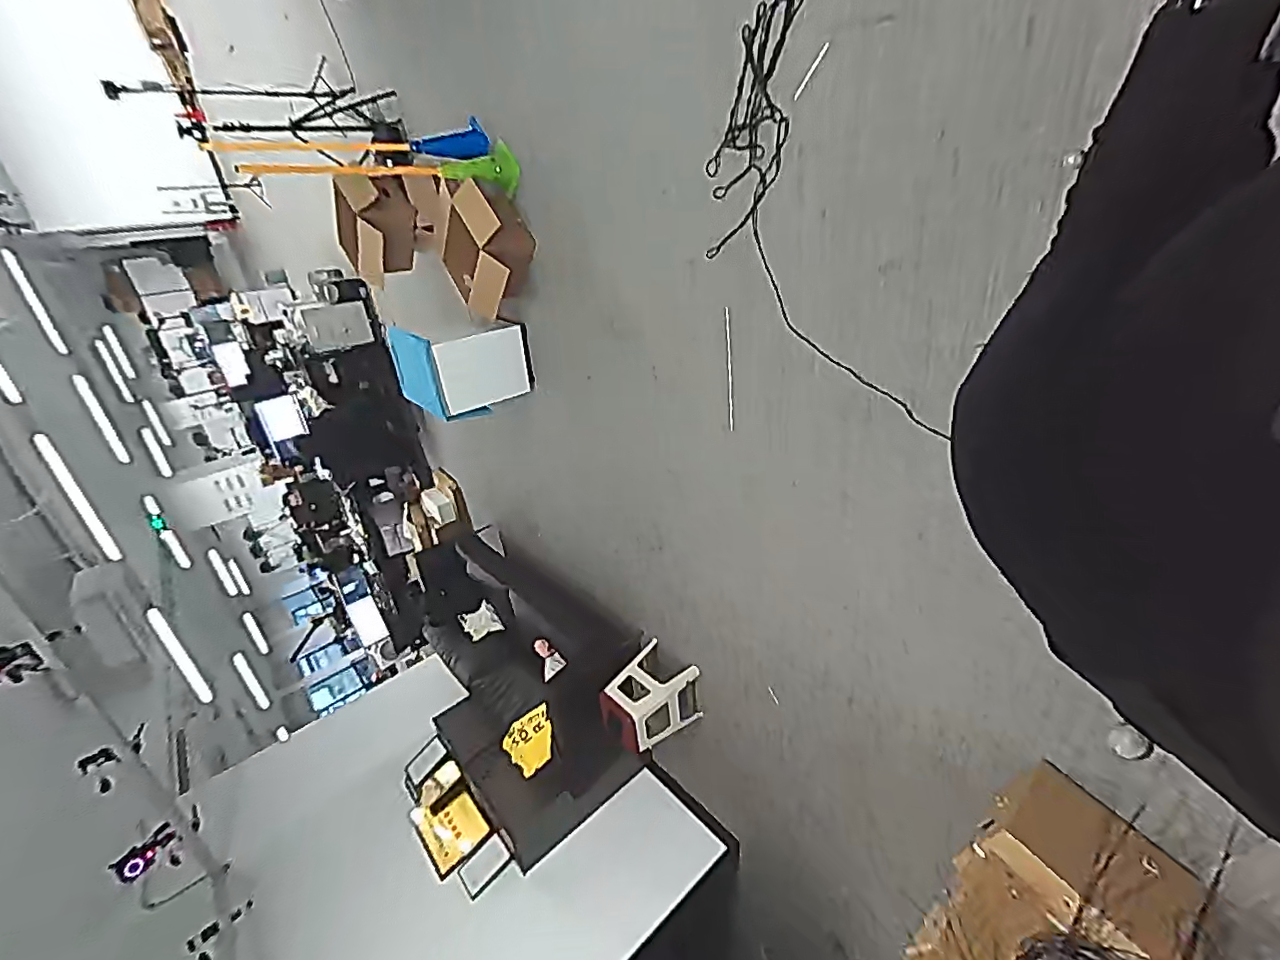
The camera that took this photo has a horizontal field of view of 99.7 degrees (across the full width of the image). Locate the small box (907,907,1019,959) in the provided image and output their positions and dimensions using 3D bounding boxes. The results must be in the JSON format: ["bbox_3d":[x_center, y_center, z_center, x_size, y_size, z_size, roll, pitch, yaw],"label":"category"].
[{"bbox_3d":[0.844,1.255,1.402,0.179,0.176,0.168,41,141,30],"label":"small box"}]

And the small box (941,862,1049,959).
[{"bbox_3d":[0.973,1.201,1.484,0.168,0.176,0.179,41,141,32],"label":"small box"}]
